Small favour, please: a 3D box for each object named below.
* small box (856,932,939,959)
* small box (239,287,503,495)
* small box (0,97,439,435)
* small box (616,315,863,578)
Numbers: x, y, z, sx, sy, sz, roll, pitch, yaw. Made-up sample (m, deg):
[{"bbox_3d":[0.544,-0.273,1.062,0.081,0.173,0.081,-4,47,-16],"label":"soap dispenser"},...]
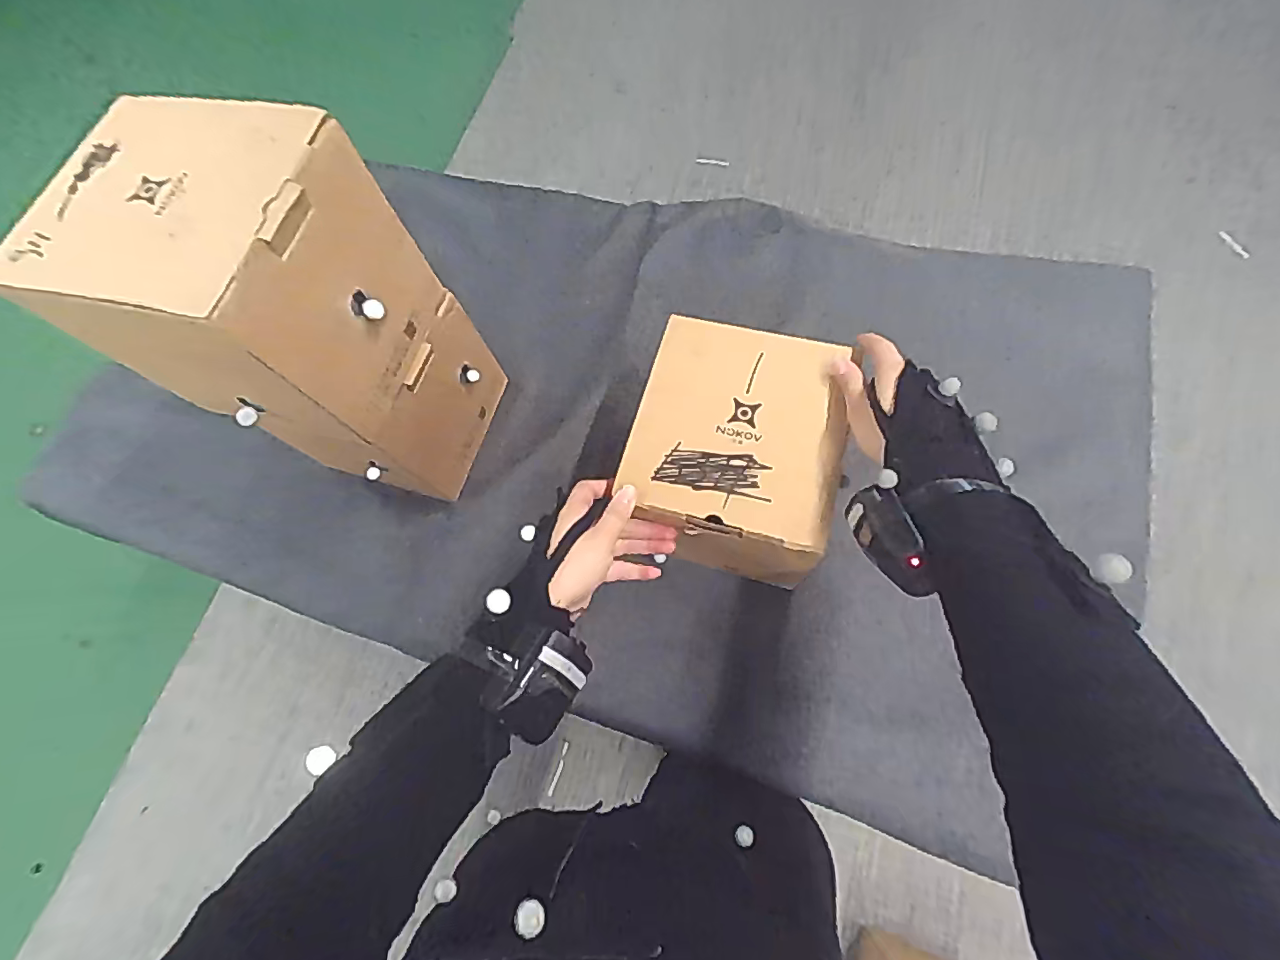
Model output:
[{"bbox_3d":[0.464,0.905,0.899,0.179,0.176,0.168,16,71,12],"label":"small box"},{"bbox_3d":[-0.270,-0.097,0.574,0.179,0.176,0.168,14,70,11],"label":"small box"},{"bbox_3d":[-0.287,-0.150,0.419,0.179,0.176,0.168,12,70,9],"label":"small box"},{"bbox_3d":[0.090,-0.020,0.506,0.168,0.176,0.179,14,71,11],"label":"small box"}]
